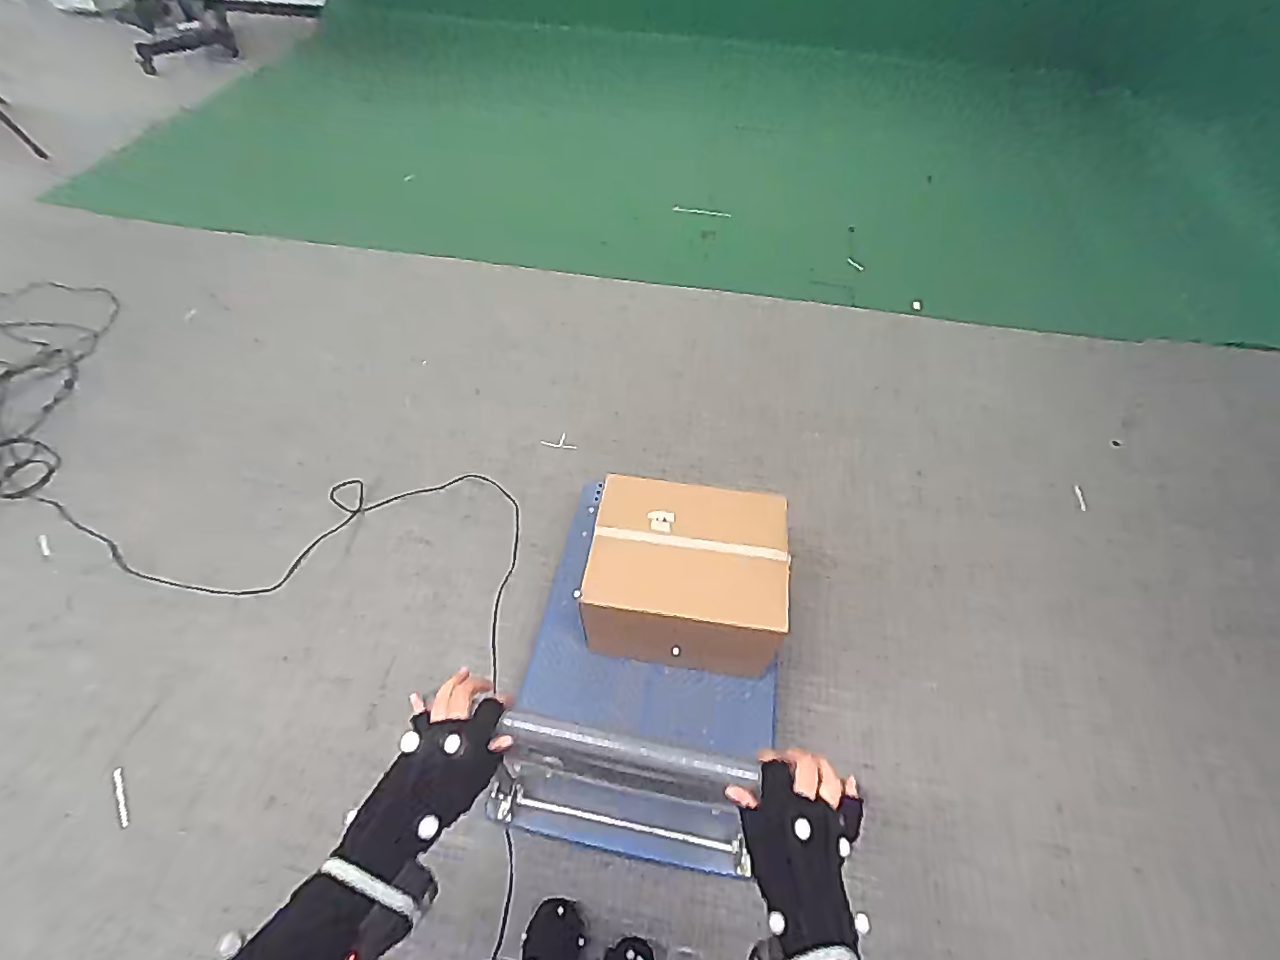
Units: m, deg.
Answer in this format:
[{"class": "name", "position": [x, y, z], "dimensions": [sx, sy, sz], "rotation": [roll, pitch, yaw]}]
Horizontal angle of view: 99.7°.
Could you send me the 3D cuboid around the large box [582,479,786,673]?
[{"class": "large box", "position": [0.102, 0.228, 1.247], "dimensions": [0.408, 0.320, 0.320], "rotation": [7, 53, 5]}]
